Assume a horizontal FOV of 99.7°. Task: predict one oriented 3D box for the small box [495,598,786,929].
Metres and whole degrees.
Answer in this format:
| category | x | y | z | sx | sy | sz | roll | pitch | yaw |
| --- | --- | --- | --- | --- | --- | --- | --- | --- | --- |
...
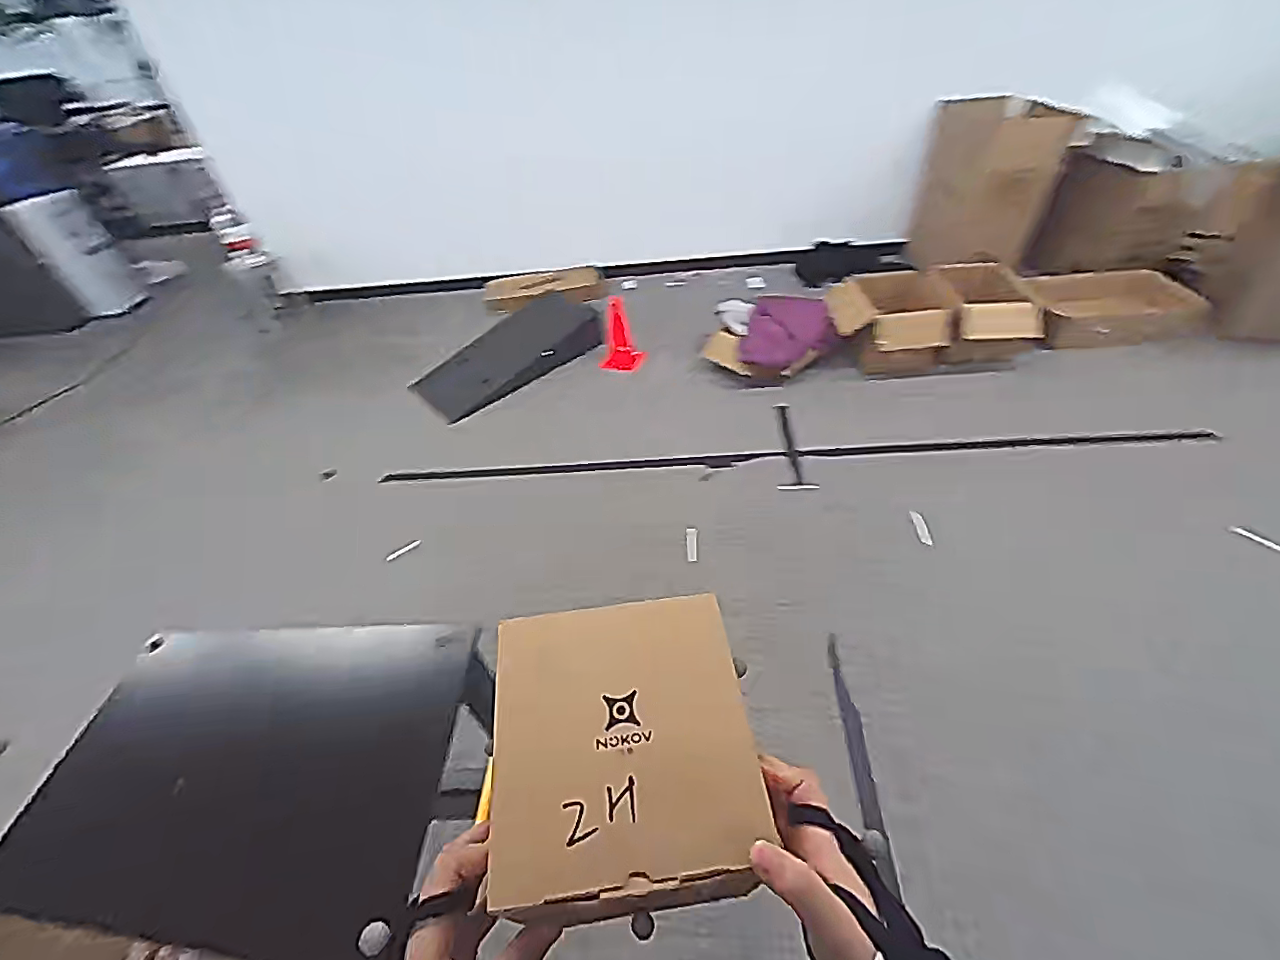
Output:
| category | x | y | z | sx | sy | sz | roll | pitch | yaw |
| --- | --- | --- | --- | --- | --- | --- | --- | --- | --- |
| small box | -0.005 | 0.215 | 0.413 | 0.168 | 0.176 | 0.179 | -6 | 47 | -3 |
